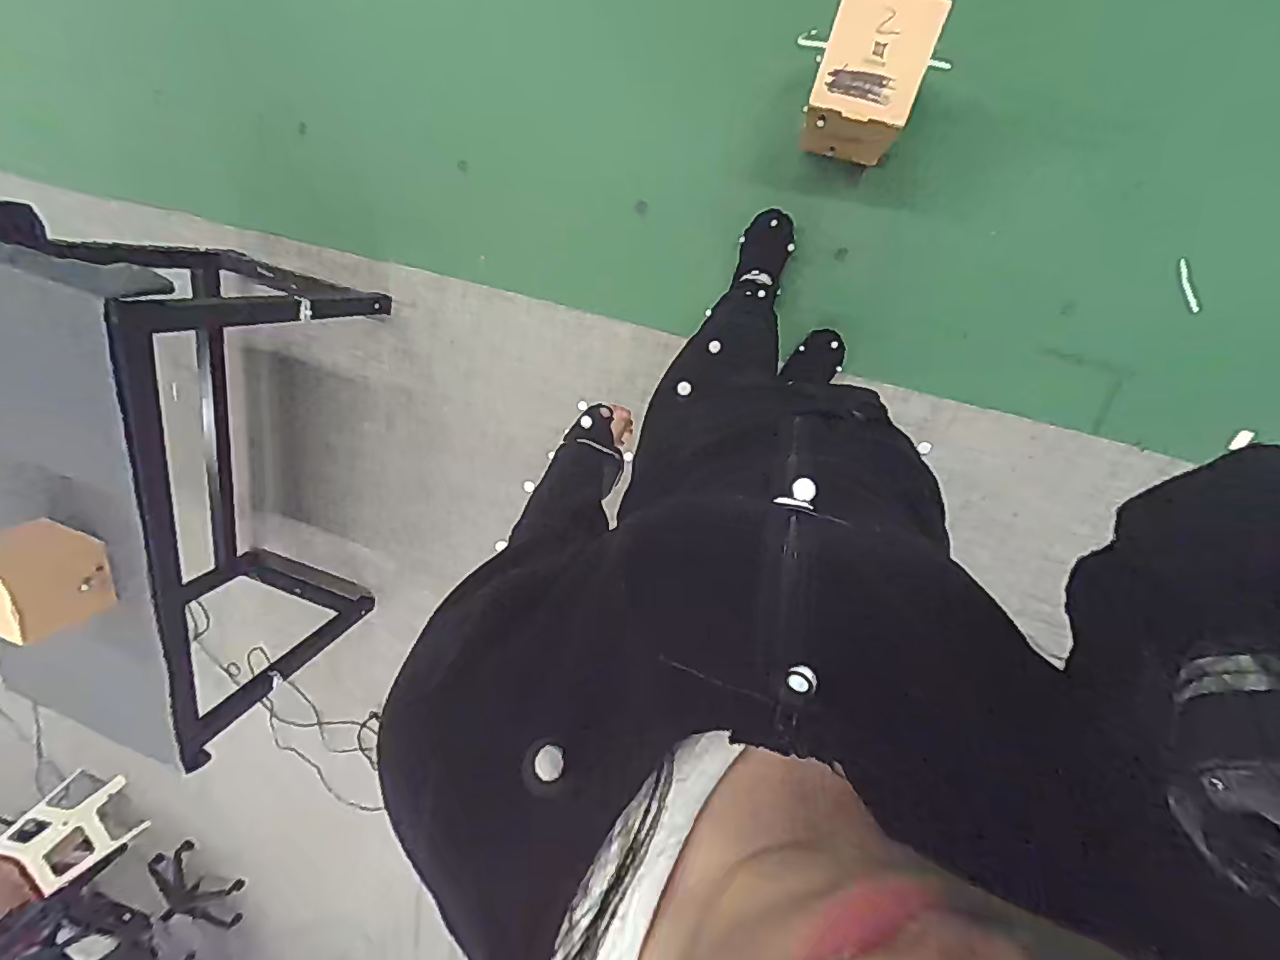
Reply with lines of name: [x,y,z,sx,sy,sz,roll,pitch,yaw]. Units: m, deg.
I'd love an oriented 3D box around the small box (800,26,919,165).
small box: [0.433,-0.772,1.103,0.168,0.176,0.179,19,114,7]

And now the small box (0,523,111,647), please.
small box: [-1.267,0.206,1.121,0.179,0.176,0.168,17,114,9]
